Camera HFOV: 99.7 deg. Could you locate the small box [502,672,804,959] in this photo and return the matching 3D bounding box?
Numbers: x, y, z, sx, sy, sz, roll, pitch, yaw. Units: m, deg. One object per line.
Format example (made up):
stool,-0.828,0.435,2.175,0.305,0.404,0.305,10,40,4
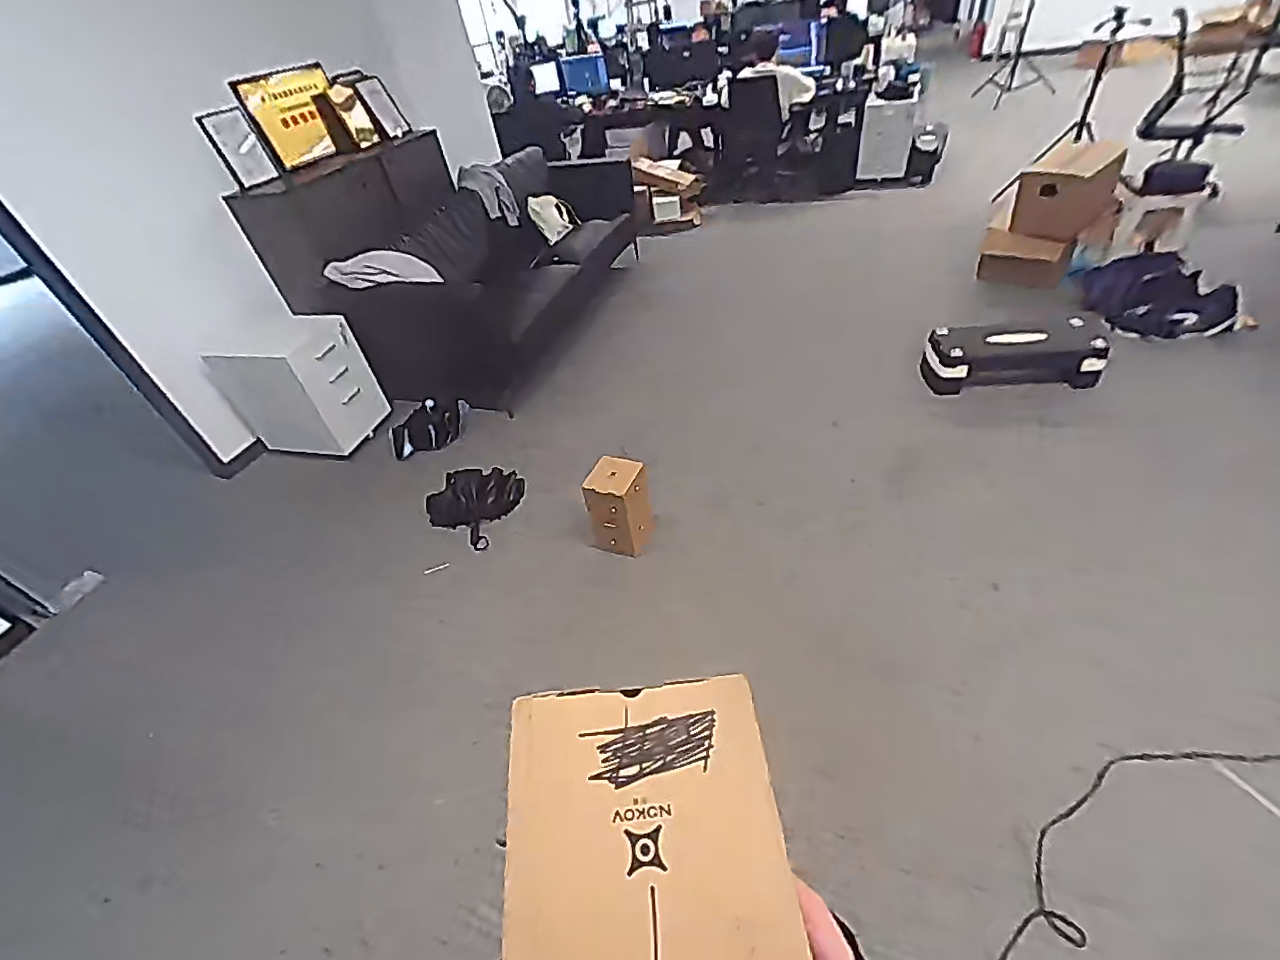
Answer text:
small box,-0.001,0.259,0.392,0.168,0.176,0.179,-4,52,-5
